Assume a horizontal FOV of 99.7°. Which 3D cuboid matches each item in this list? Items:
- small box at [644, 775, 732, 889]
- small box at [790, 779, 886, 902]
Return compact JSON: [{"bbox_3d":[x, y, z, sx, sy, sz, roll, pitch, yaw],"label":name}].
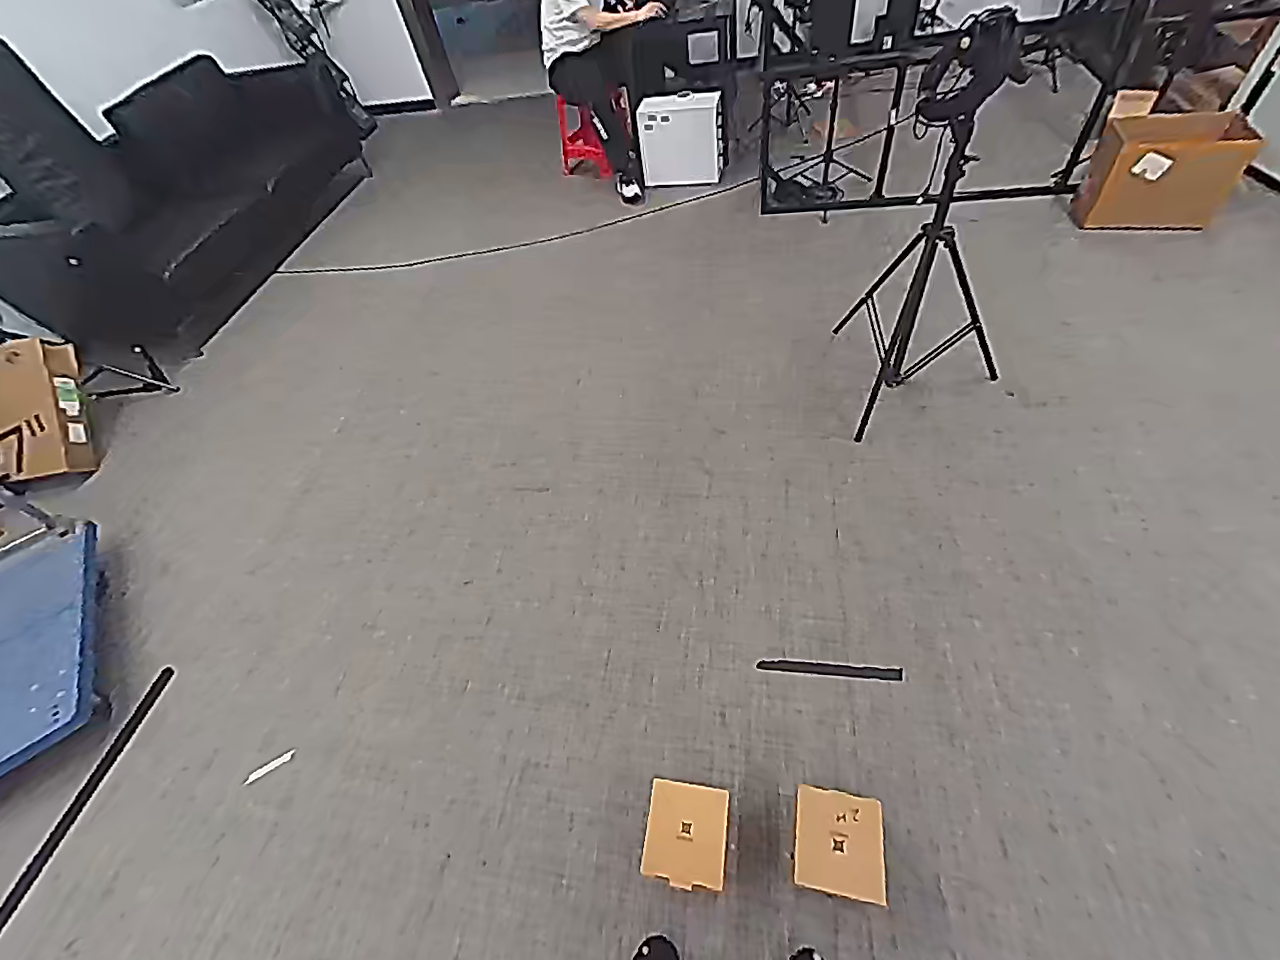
[{"bbox_3d":[0.111,0.763,1.172,0.168,0.176,0.179,2,53,13],"label":"small box"},{"bbox_3d":[0.405,0.750,1.123,0.168,0.176,0.179,5,53,14],"label":"small box"}]
